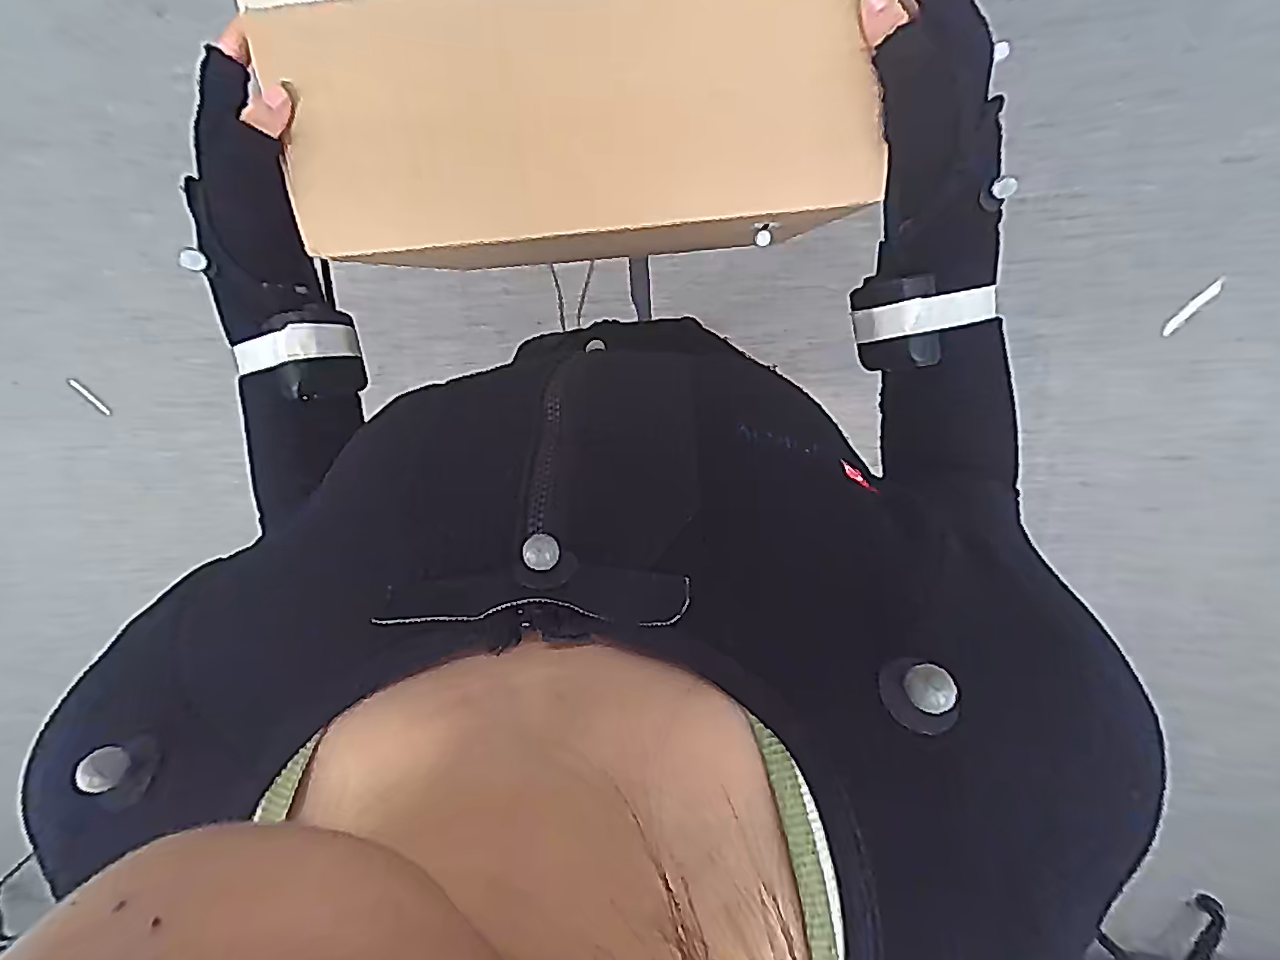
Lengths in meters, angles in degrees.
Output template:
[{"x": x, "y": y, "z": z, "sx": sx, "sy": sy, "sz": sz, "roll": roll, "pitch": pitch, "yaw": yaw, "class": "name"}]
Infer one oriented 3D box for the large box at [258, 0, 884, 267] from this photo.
[{"x": -0.042, "y": -0.372, "z": 0.475, "sx": 0.408, "sy": 0.320, "sz": 0.320, "roll": -4, "pitch": 109, "yaw": 3, "class": "large box"}]
